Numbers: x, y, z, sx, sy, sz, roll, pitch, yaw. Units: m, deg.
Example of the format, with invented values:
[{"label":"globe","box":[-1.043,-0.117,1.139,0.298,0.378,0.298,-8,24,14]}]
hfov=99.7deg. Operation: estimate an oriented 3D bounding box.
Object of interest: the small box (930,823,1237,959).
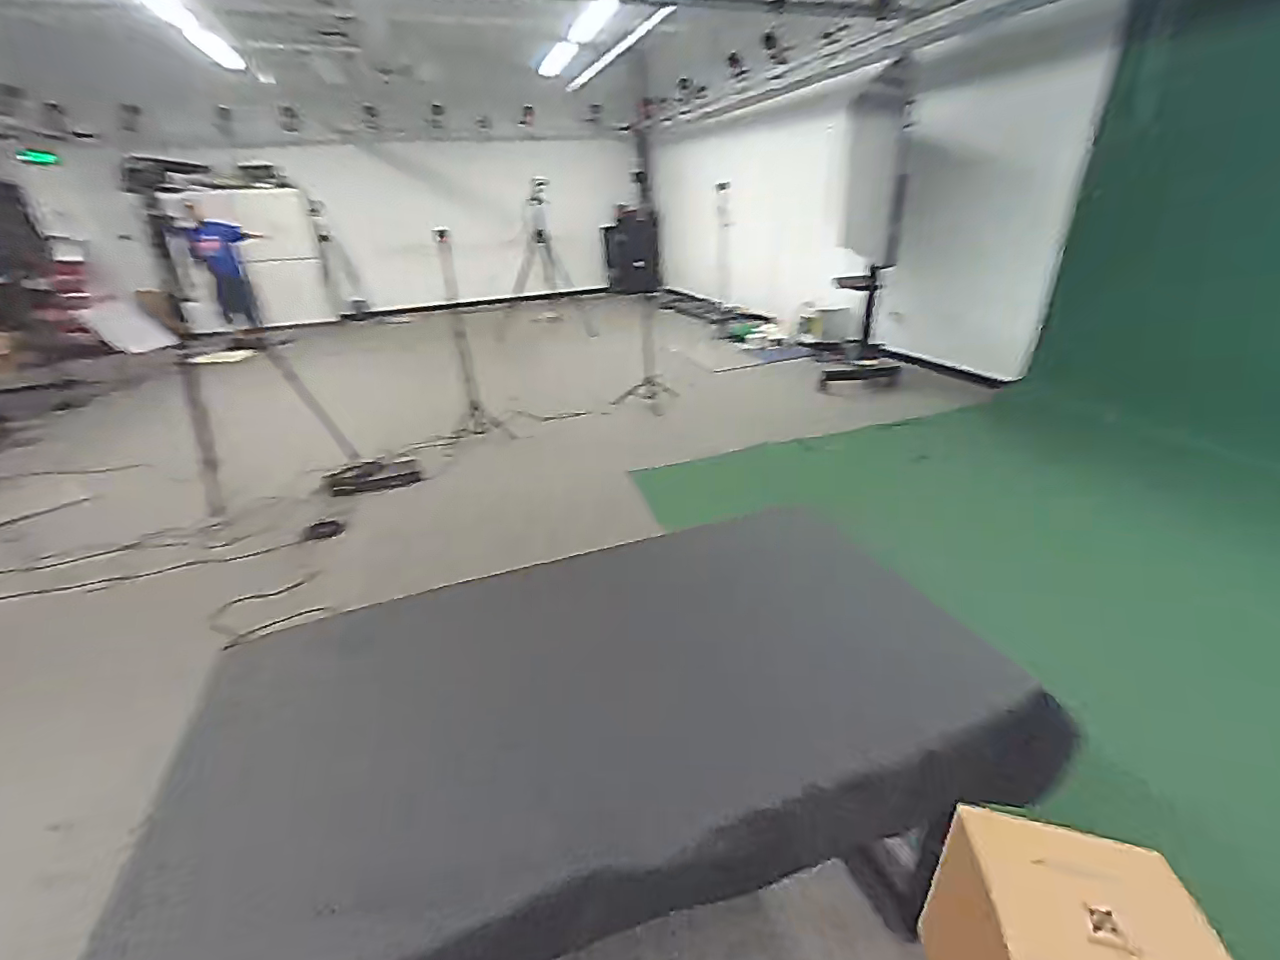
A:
[{"label":"small box","box":[0.350,0.426,0.423,0.168,0.176,0.179,9,17,13]}]
